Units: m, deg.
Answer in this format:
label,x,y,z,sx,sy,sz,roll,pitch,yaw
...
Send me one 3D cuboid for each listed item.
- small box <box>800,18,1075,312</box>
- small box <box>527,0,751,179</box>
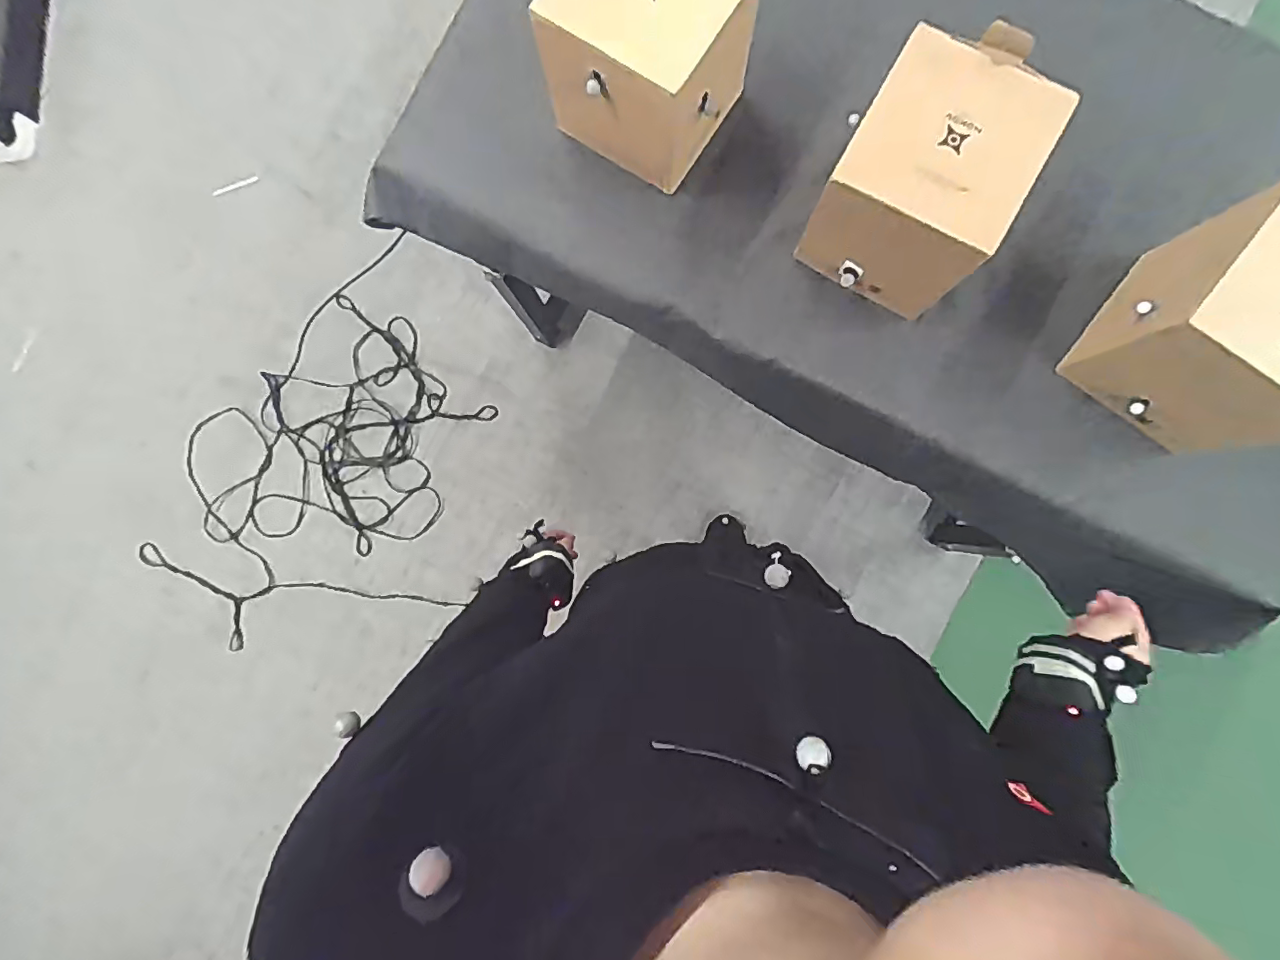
label,x,y,z,sx,sy,sz,roll,pitch,yaw
small box,0.293,-0.315,0.577,0.168,0.176,0.179,28,88,5
small box,0.008,-0.476,0.598,0.179,0.176,0.168,33,88,4
